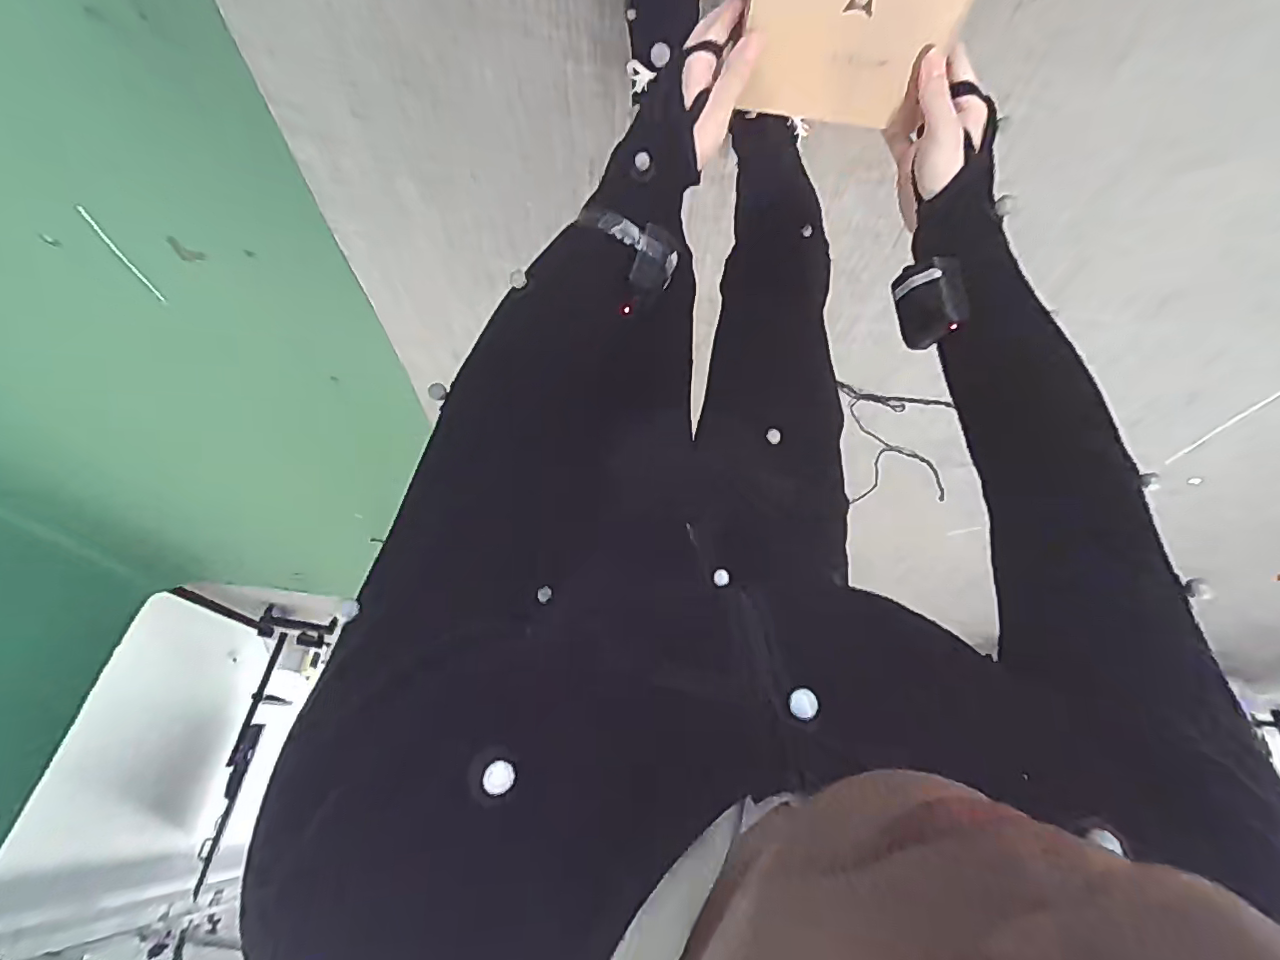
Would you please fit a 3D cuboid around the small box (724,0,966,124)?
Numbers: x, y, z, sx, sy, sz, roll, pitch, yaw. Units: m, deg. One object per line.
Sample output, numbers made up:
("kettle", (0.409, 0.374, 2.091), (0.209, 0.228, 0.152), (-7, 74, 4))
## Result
("small box", (0.169, -0.435, 0.449), (0.168, 0.176, 0.179), (7, 141, -3))
